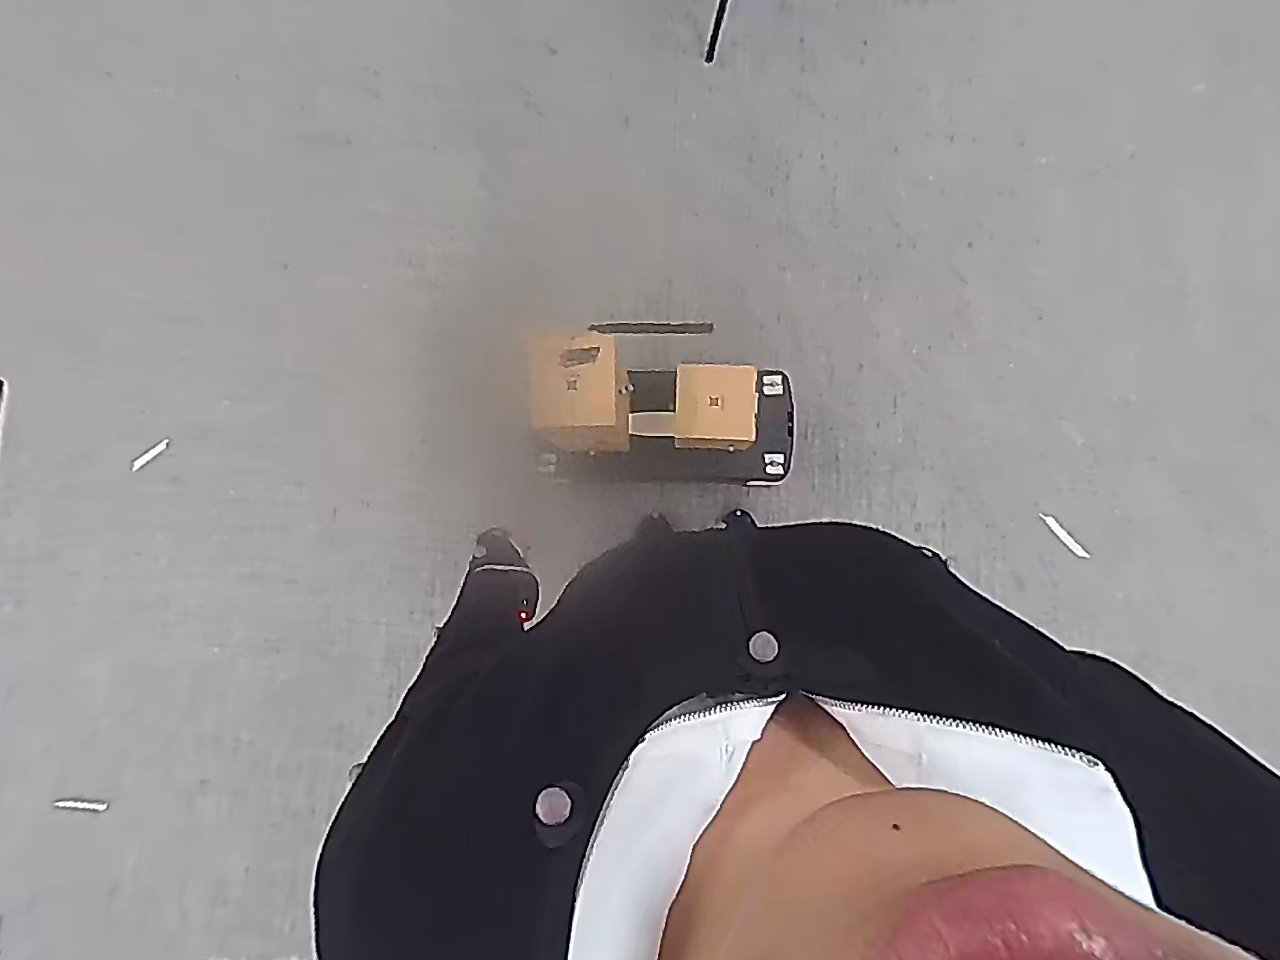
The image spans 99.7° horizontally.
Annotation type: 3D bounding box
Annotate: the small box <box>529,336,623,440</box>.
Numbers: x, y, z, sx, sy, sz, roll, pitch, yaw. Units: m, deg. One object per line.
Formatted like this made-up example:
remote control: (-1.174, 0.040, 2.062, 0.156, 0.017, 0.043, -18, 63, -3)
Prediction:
small box: (-0.124, -0.180, 1.099, 0.168, 0.176, 0.179, -1, 86, 3)

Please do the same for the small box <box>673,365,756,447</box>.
small box: (0.168, -0.163, 1.251, 0.179, 0.176, 0.168, 2, 86, 5)

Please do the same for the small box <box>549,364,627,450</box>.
small box: (-0.114, -0.164, 1.262, 0.168, 0.176, 0.179, 0, 86, 3)
